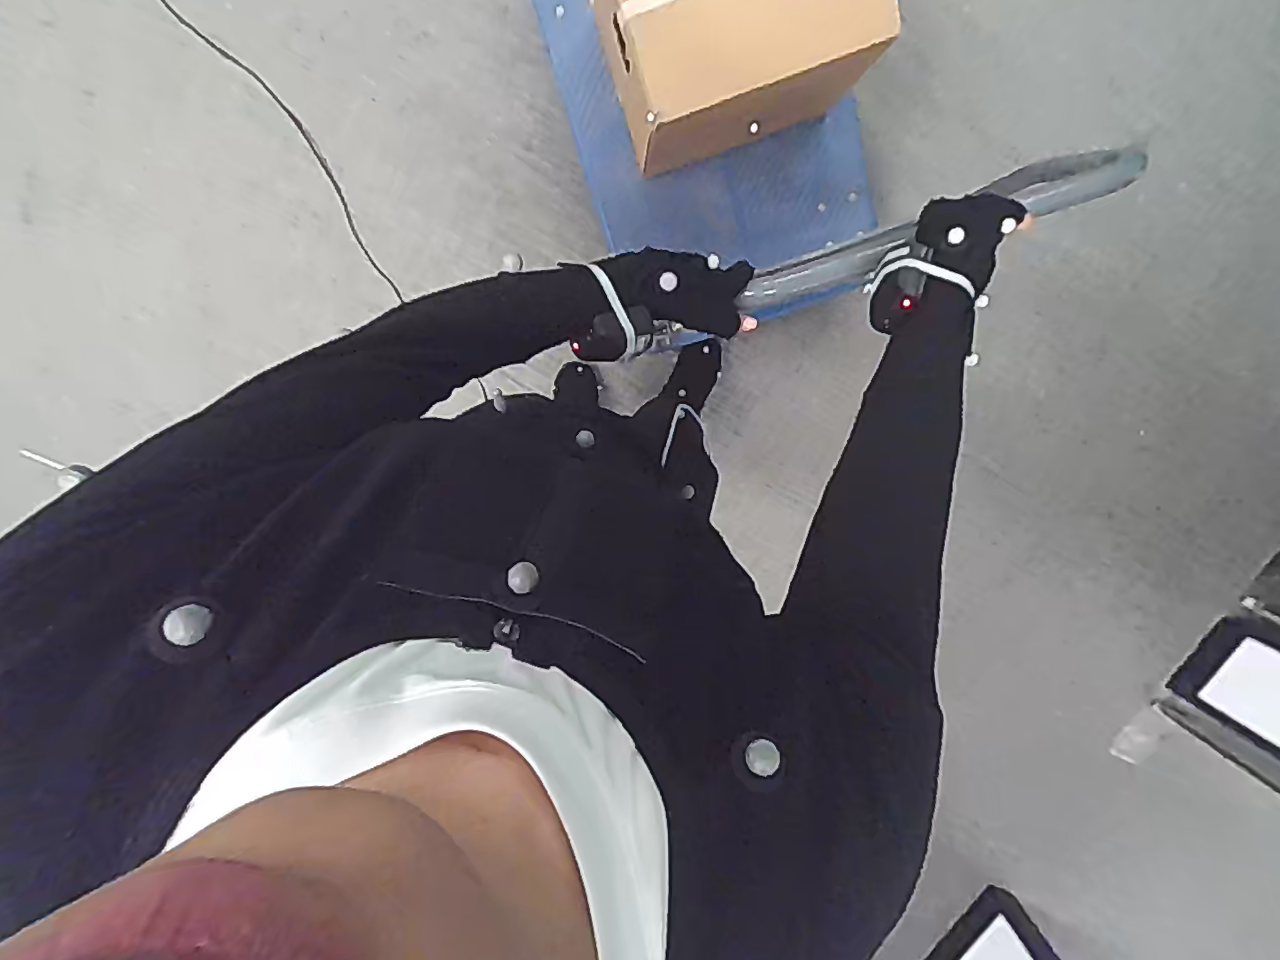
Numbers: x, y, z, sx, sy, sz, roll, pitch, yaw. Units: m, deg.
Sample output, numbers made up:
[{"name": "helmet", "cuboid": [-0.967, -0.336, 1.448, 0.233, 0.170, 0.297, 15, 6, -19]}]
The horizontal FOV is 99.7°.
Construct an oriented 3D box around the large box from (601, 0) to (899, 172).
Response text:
[{"name": "large box", "cuboid": [0.164, -0.810, 0.953, 0.408, 0.320, 0.320, -19, 105, 3]}]
